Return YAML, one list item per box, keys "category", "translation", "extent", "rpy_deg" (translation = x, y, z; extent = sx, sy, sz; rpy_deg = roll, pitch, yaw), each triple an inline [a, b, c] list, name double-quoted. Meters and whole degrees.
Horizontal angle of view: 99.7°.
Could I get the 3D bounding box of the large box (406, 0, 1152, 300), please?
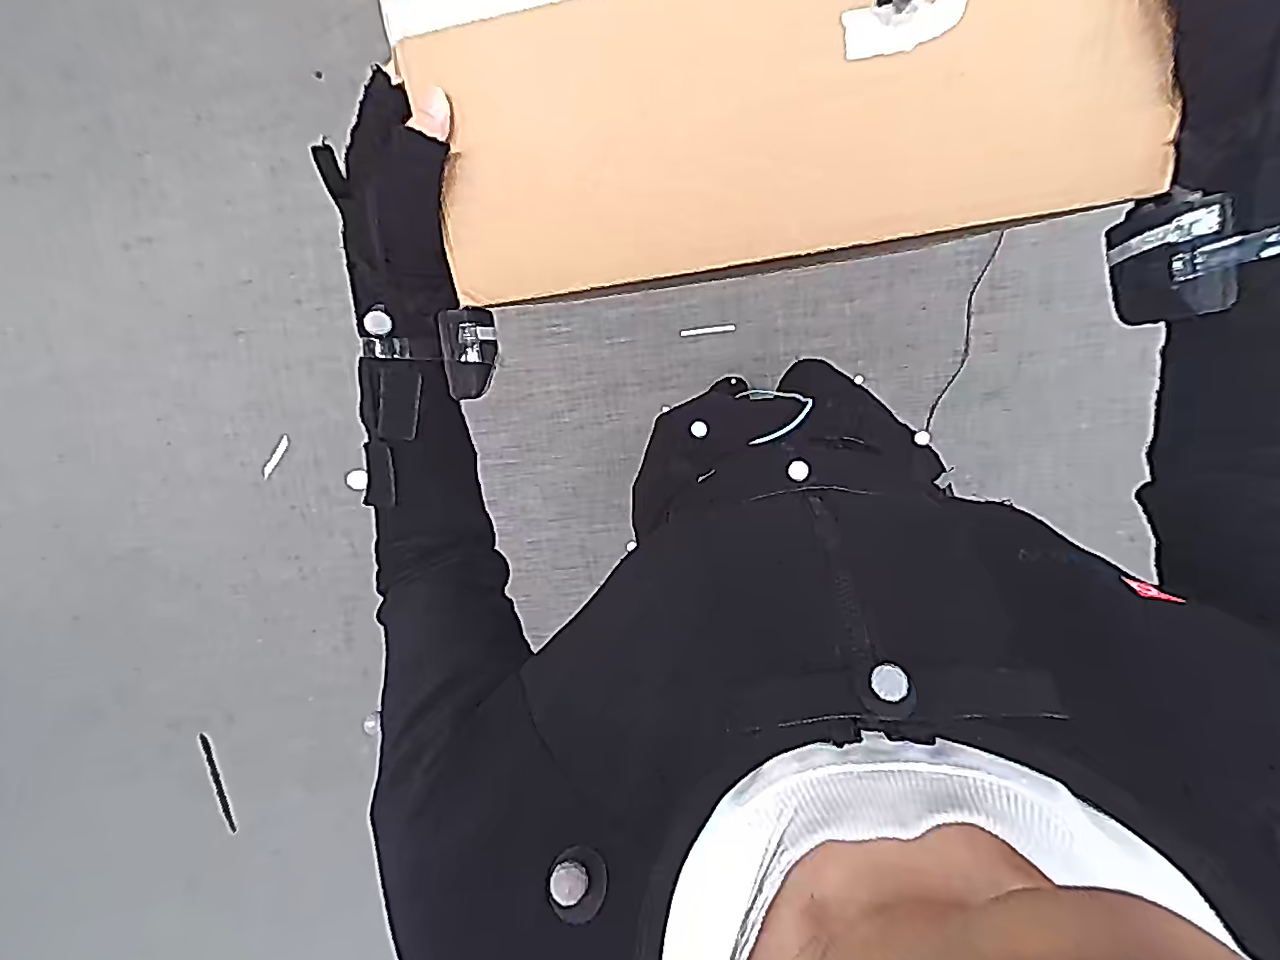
- category: "large box"
  translation: [0.072, -0.337, 0.429]
  extent: [0.408, 0.320, 0.320]
  rpy_deg: [-7, 108, 8]
